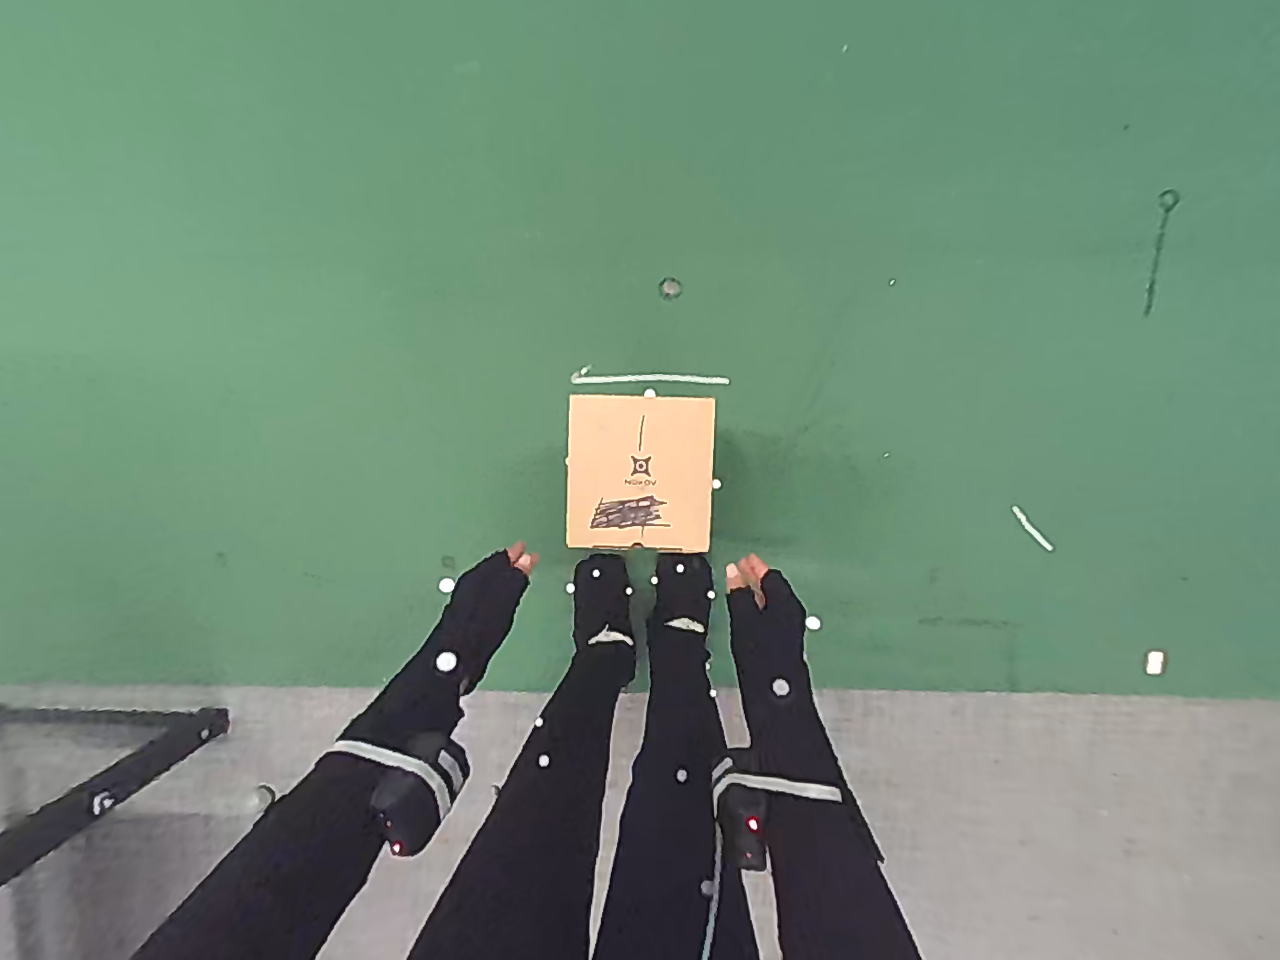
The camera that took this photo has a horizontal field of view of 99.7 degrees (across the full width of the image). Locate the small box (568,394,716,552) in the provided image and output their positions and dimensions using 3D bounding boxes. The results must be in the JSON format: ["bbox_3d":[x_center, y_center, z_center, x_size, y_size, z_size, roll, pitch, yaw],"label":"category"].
[{"bbox_3d":[0.005,-0.013,0.690,0.168,0.176,0.179,2,94,2],"label":"small box"}]
